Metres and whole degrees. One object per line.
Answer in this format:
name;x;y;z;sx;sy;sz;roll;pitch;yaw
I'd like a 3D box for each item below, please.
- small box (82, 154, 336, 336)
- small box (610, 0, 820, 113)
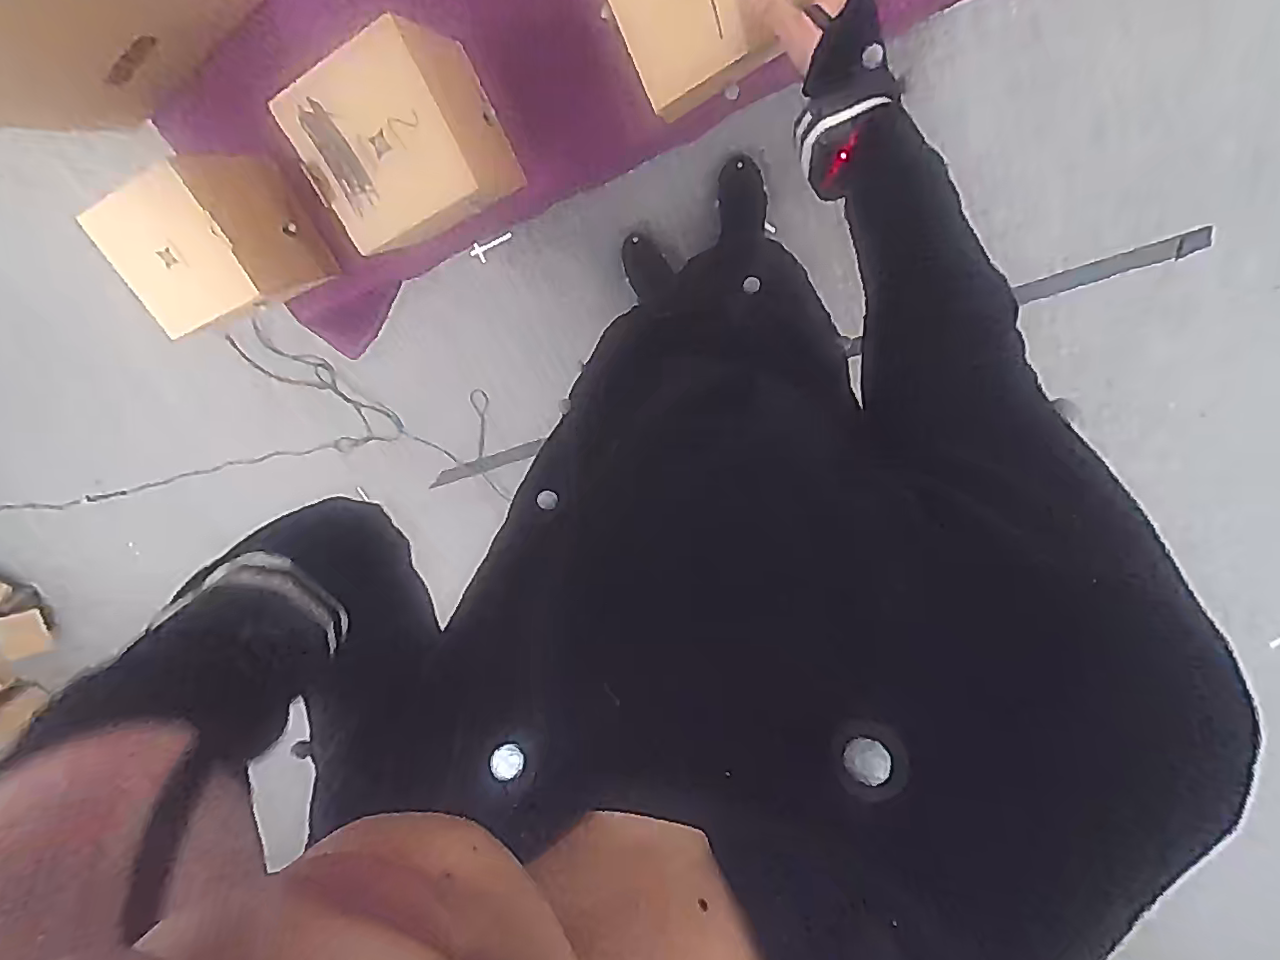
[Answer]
small box;-0.570;-0.321;0.742;0.179;0.176;0.168;-16;117;17
small box;0.058;-0.493;0.527;0.168;0.176;0.179;-20;116;21
